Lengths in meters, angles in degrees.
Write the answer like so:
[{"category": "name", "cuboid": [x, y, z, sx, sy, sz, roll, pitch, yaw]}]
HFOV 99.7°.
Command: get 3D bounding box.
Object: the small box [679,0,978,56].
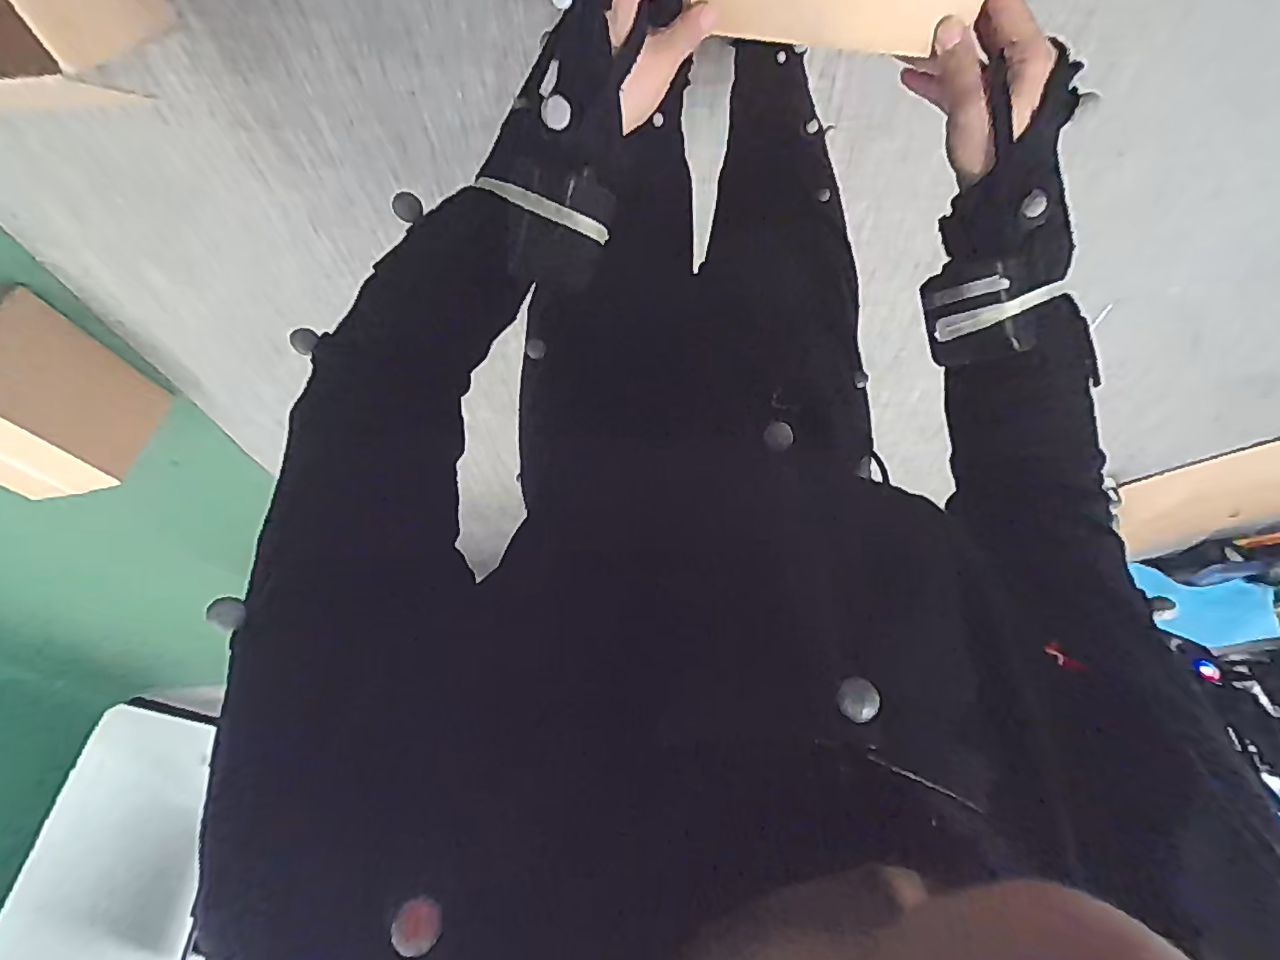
[{"category": "small box", "cuboid": [0.119, -0.384, 0.315, 0.179, 0.176, 0.168, 3, 146, -2]}]
